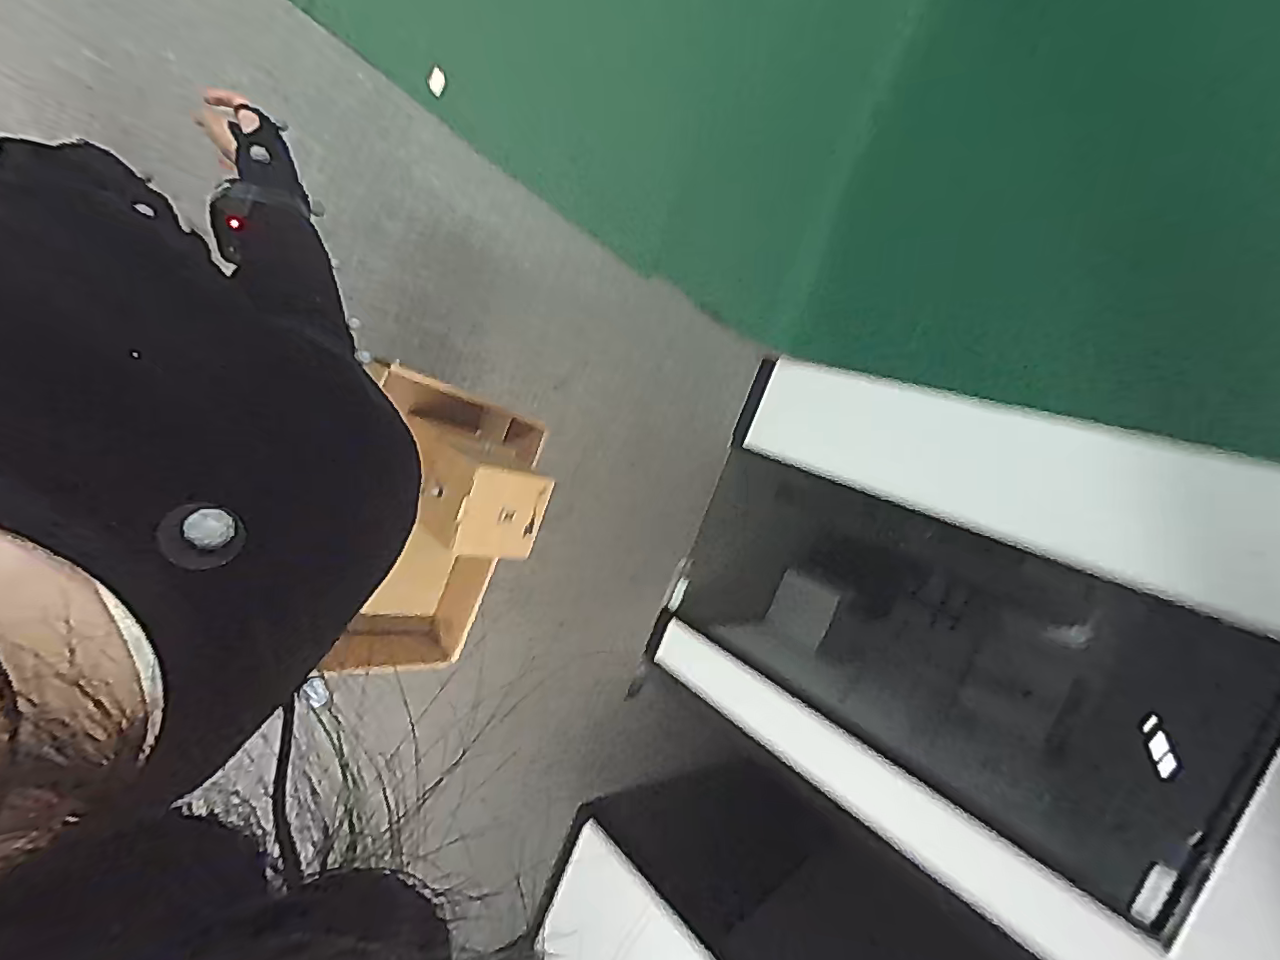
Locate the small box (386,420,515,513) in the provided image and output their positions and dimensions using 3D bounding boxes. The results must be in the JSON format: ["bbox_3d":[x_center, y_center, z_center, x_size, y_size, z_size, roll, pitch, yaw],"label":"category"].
[{"bbox_3d":[-0.405,-0.017,1.152,0.179,0.176,0.168,15,99,-49],"label":"small box"}]

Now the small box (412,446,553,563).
[{"bbox_3d":[-0.306,0.044,1.035,0.179,0.176,0.168,15,99,-48],"label":"small box"}]
